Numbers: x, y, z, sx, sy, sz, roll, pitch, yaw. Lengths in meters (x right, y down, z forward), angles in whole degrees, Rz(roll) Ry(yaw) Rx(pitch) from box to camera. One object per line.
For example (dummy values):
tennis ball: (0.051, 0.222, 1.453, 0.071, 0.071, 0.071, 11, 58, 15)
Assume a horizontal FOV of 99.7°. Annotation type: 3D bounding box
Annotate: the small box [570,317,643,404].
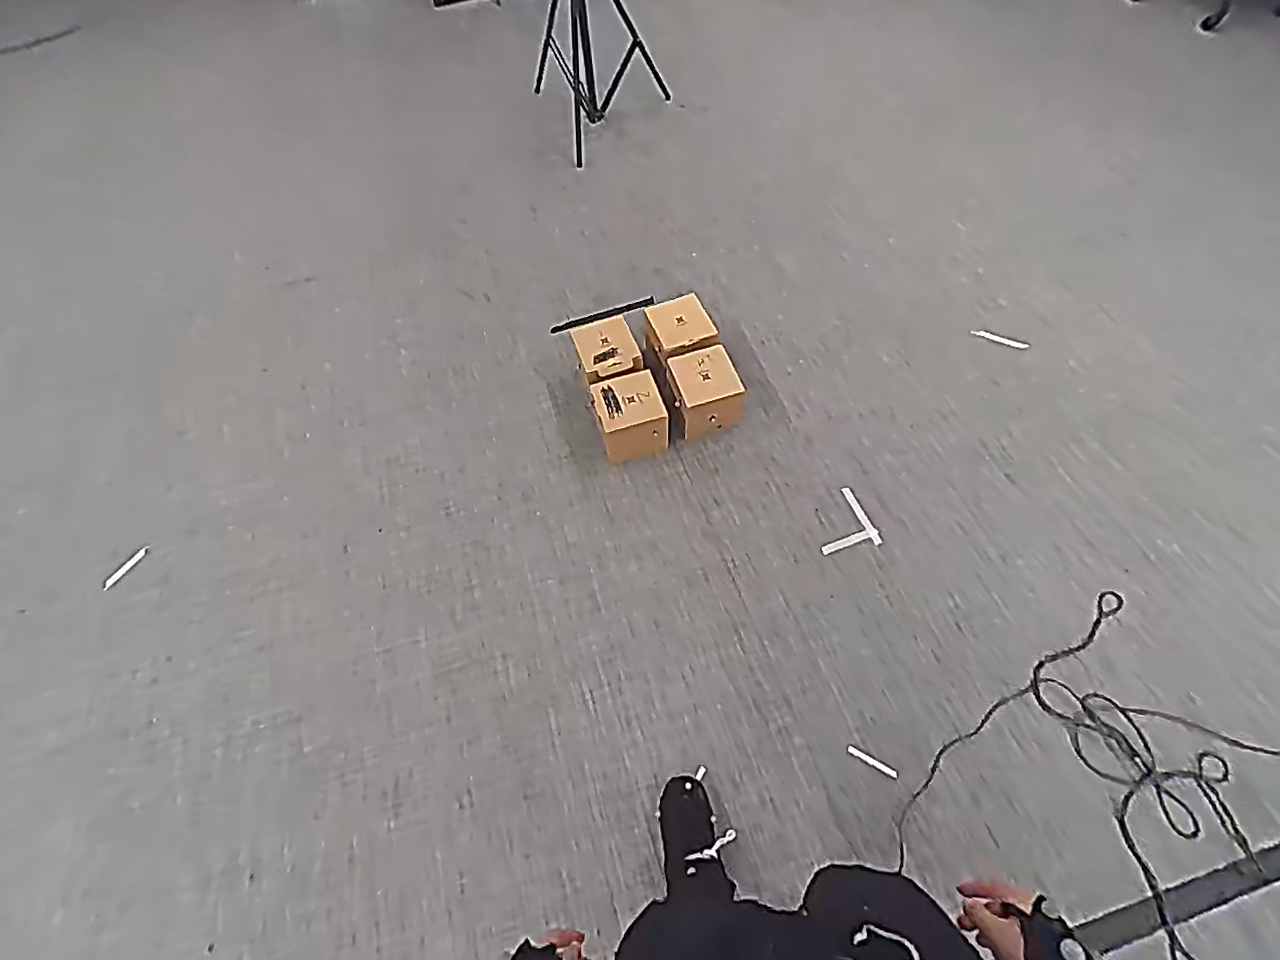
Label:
small box: (-0.095, -0.346, 1.605, 0.168, 0.176, 0.179, -18, 61, -7)
